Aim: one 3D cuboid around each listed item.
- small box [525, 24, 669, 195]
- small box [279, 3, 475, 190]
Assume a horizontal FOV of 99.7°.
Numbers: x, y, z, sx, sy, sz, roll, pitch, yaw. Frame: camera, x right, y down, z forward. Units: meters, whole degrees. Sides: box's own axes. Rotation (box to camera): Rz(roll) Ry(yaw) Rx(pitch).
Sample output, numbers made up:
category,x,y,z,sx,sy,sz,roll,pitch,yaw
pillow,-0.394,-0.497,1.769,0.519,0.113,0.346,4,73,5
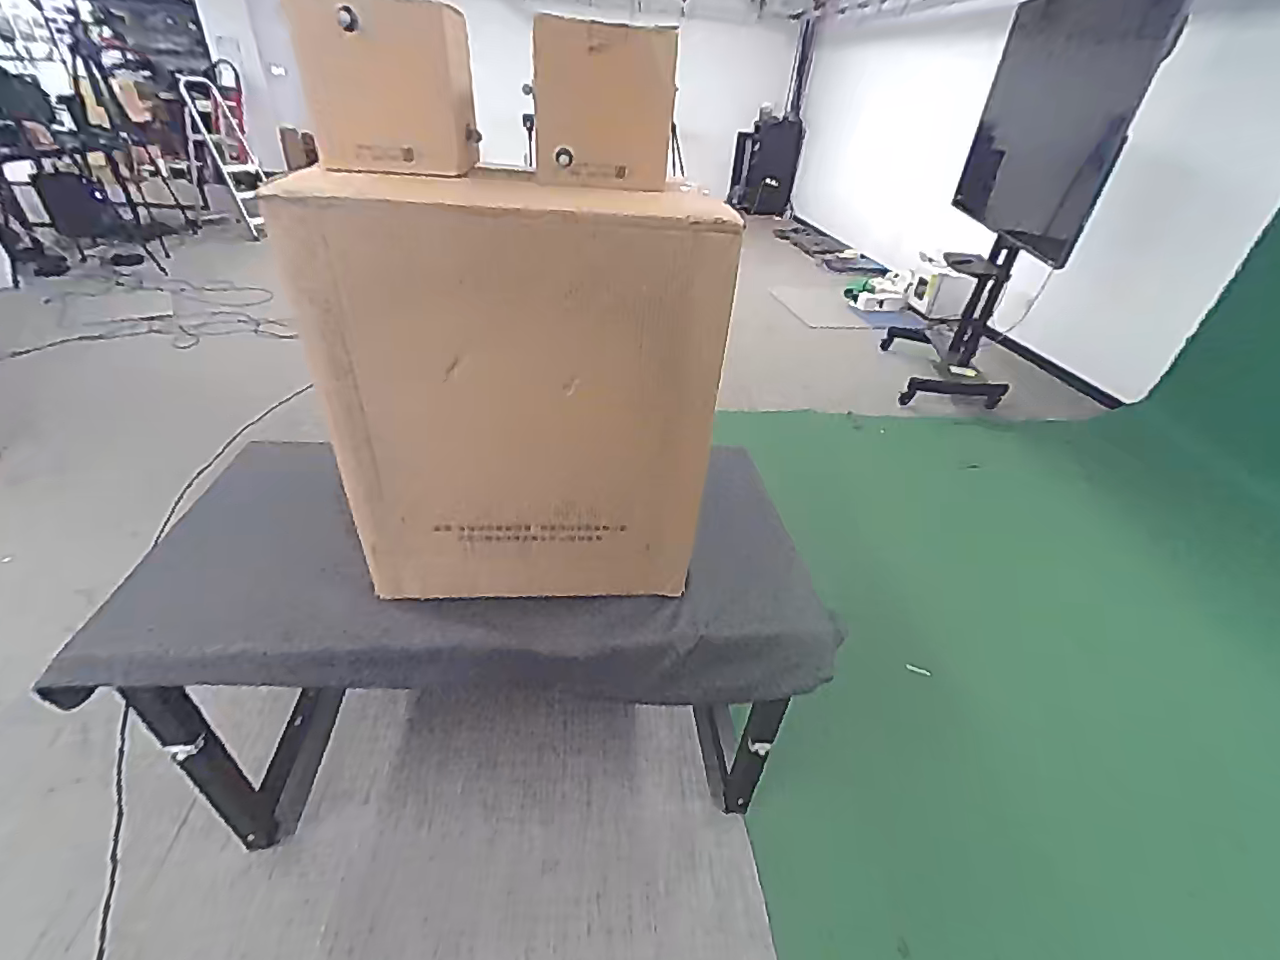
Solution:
category,x,y,z,sx,sy,sz,roll,pitch,yaw
small box,-0.062,-0.483,0.714,0.168,0.176,0.179,-3,36,-10
small box,-0.311,-0.477,0.686,0.168,0.176,0.179,-2,36,-6
